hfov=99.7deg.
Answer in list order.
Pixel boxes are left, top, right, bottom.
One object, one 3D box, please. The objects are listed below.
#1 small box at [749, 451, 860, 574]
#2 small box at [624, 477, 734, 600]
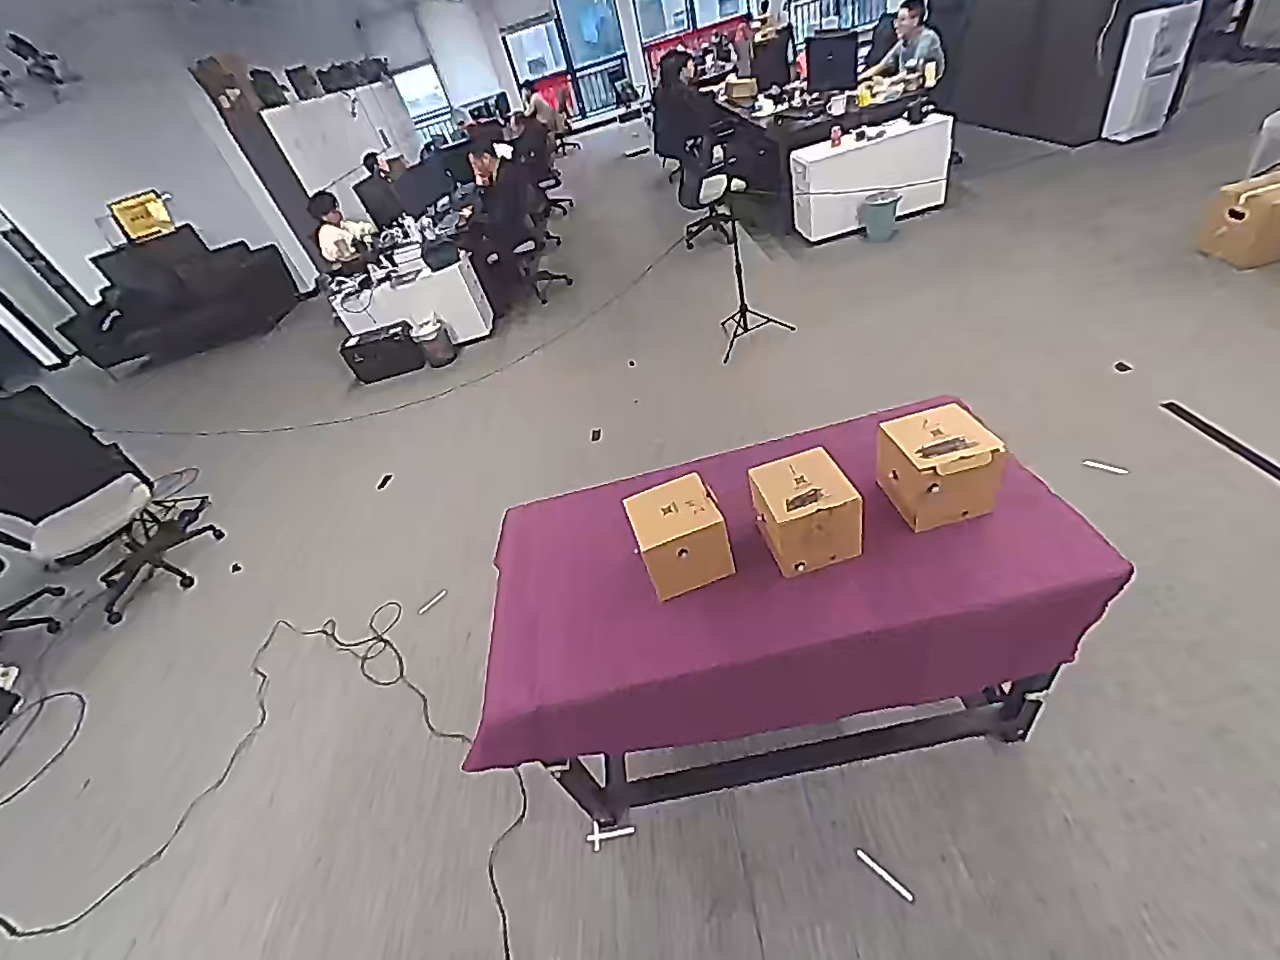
[{"bbox_3d":[0.342,0.074,1.125,0.168,0.176,0.179,-17,38,1],"label":"small box"},{"bbox_3d":[0.085,0.129,1.159,0.179,0.176,0.168,-20,40,-3],"label":"small box"}]
